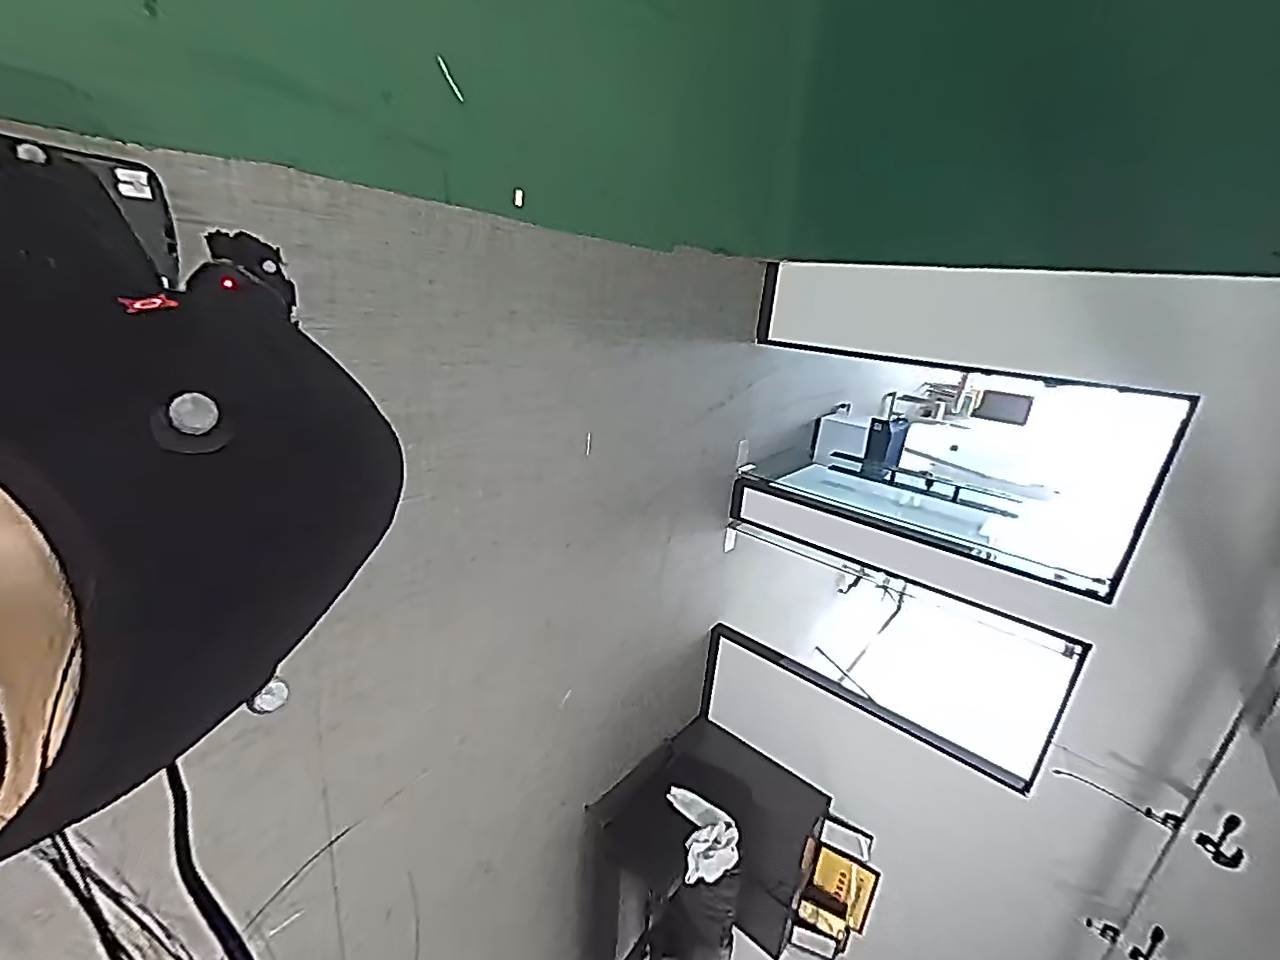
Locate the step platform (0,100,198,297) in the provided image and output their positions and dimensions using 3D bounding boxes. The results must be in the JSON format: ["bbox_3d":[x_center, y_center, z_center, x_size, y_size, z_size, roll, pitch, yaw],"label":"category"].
[{"bbox_3d":[-1.093,-0.435,0.778,0.684,0.204,0.286,-16,120,-47],"label":"step platform"}]
